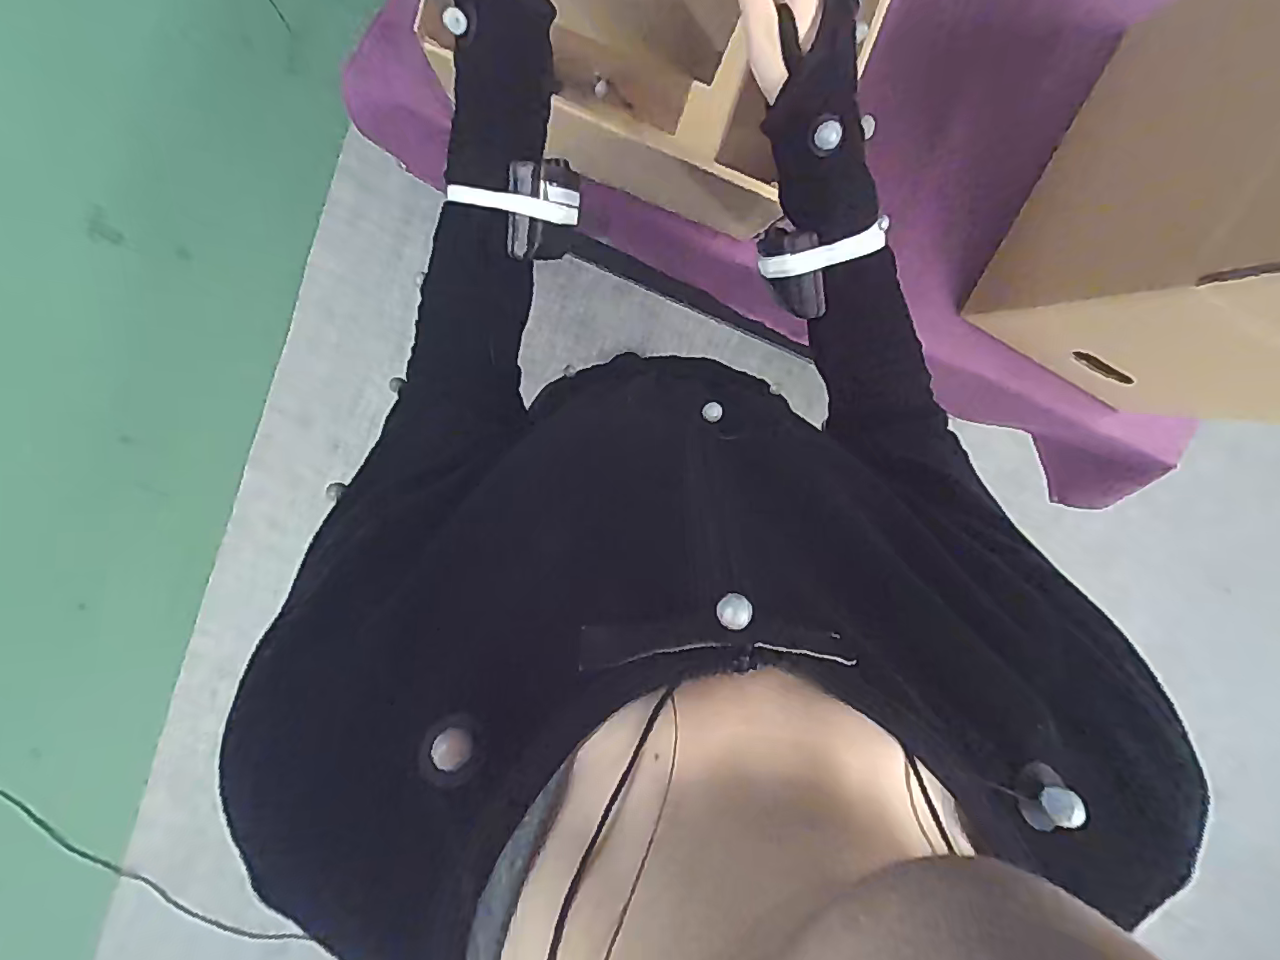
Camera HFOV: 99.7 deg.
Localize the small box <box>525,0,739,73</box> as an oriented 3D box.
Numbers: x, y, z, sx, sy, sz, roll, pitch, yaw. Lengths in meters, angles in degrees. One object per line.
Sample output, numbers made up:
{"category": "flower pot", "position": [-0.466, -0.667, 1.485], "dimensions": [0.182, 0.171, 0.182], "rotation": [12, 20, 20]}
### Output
{"category": "small box", "position": [0.008, -0.428, 0.370], "dimensions": [0.179, 0.176, 0.168], "rotation": [17, 101, -8]}
